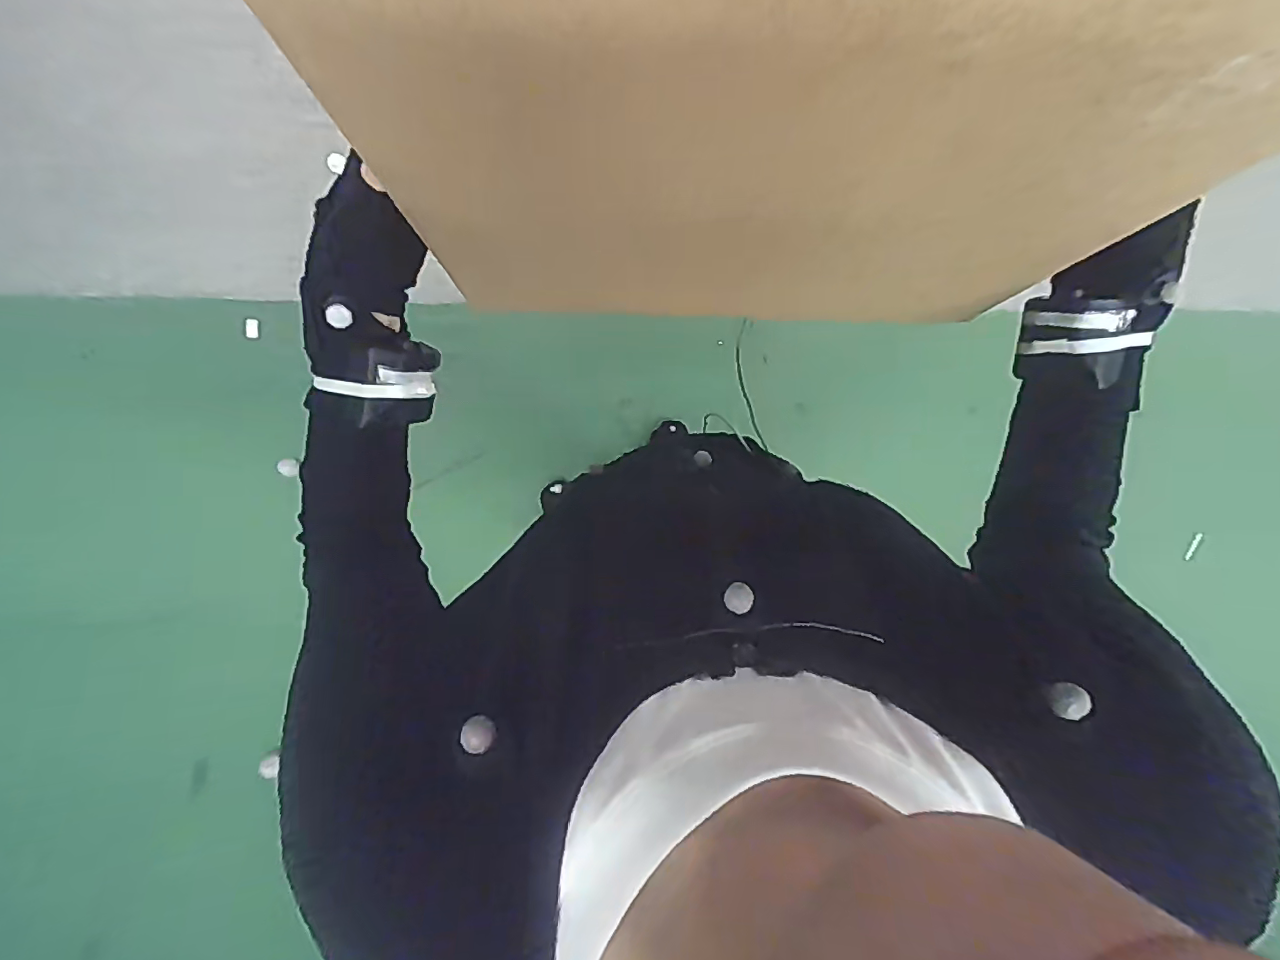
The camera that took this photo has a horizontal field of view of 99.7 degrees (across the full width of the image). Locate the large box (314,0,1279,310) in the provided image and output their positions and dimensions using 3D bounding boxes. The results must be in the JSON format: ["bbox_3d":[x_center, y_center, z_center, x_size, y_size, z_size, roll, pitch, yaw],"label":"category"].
[{"bbox_3d":[0.081,-0.299,0.294,0.408,0.320,0.320,1,88,-3],"label":"large box"}]
